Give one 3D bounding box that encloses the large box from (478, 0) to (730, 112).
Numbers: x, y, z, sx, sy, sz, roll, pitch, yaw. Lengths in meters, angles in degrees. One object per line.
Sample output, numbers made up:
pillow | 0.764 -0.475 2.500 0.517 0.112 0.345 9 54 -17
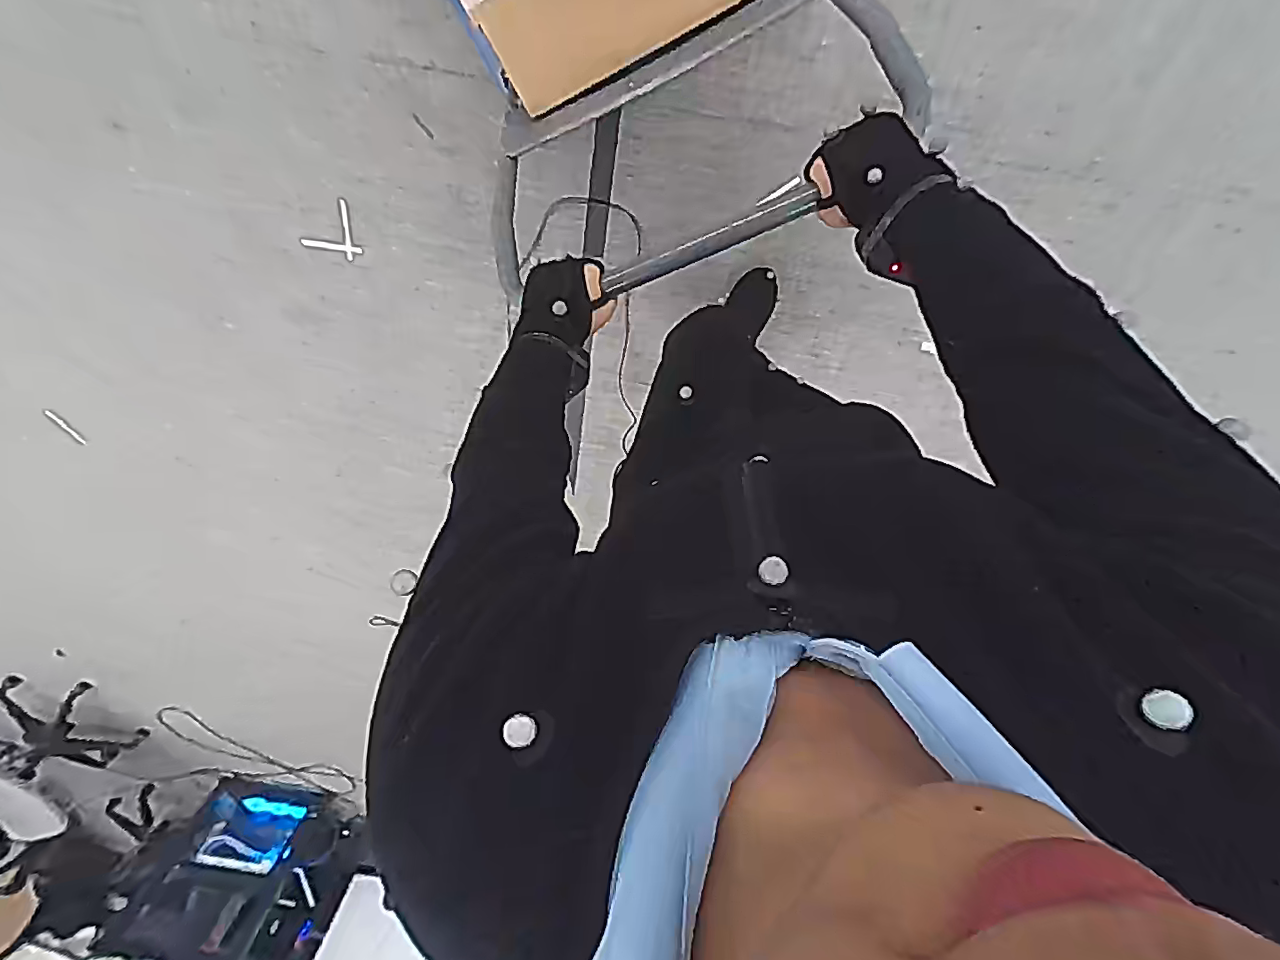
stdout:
large box | -0.052 -0.814 0.747 0.408 0.320 0.320 -19 140 16
